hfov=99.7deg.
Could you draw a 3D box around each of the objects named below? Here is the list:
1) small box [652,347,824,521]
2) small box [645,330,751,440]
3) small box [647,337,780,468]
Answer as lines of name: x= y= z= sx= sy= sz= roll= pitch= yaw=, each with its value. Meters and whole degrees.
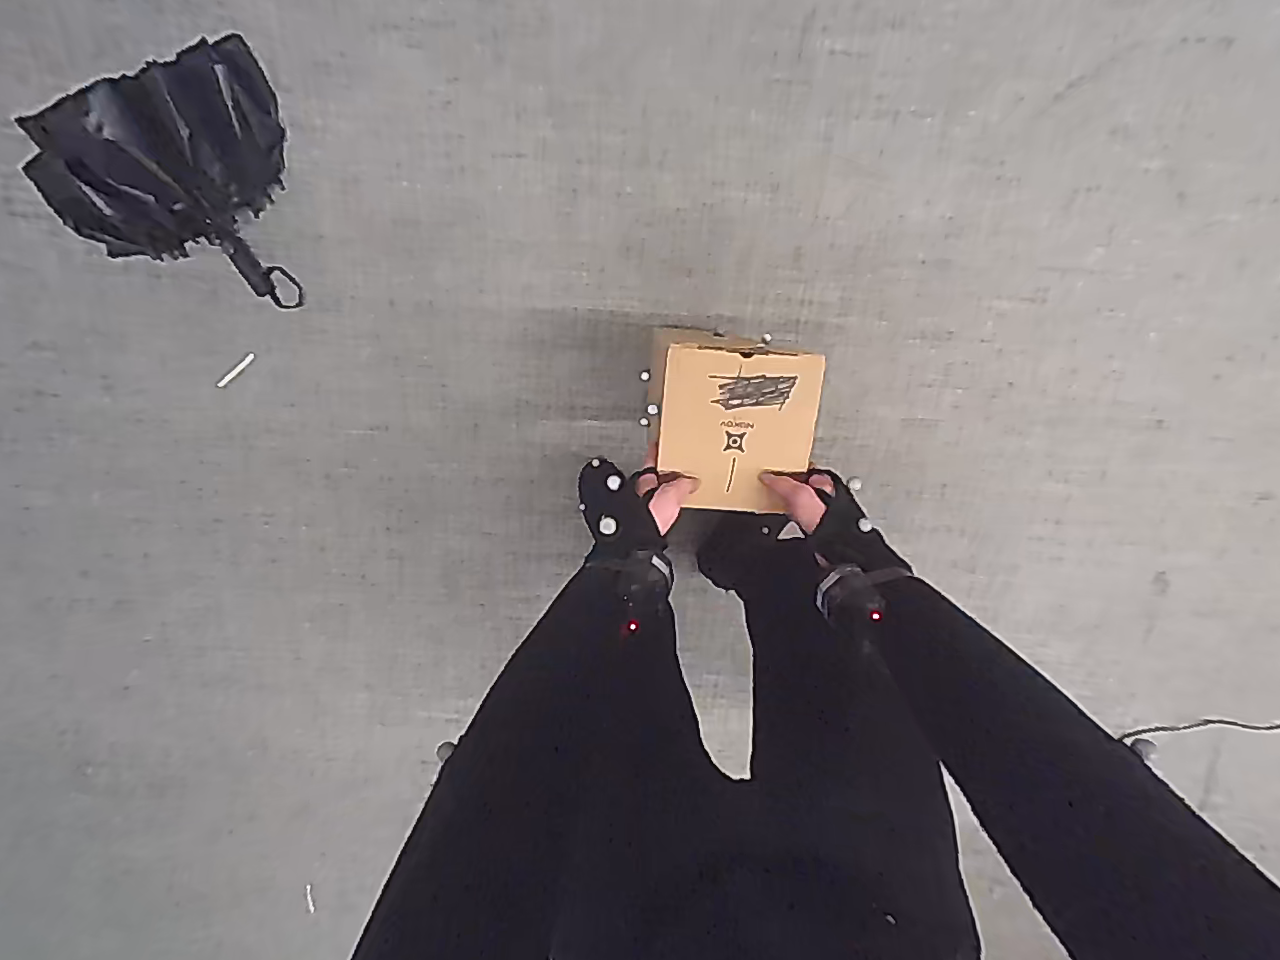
small box: x=0.103 y=-0.065 z=0.657 sx=0.168 sy=0.176 sz=0.179 roll=4 pitch=107 yaw=-1
small box: x=0.099 y=-0.168 z=0.971 sx=0.168 sy=0.176 sz=0.179 roll=4 pitch=108 yaw=-2
small box: x=0.100 y=-0.117 z=0.817 sx=0.168 sy=0.176 sz=0.179 roll=4 pitch=107 yaw=-3
